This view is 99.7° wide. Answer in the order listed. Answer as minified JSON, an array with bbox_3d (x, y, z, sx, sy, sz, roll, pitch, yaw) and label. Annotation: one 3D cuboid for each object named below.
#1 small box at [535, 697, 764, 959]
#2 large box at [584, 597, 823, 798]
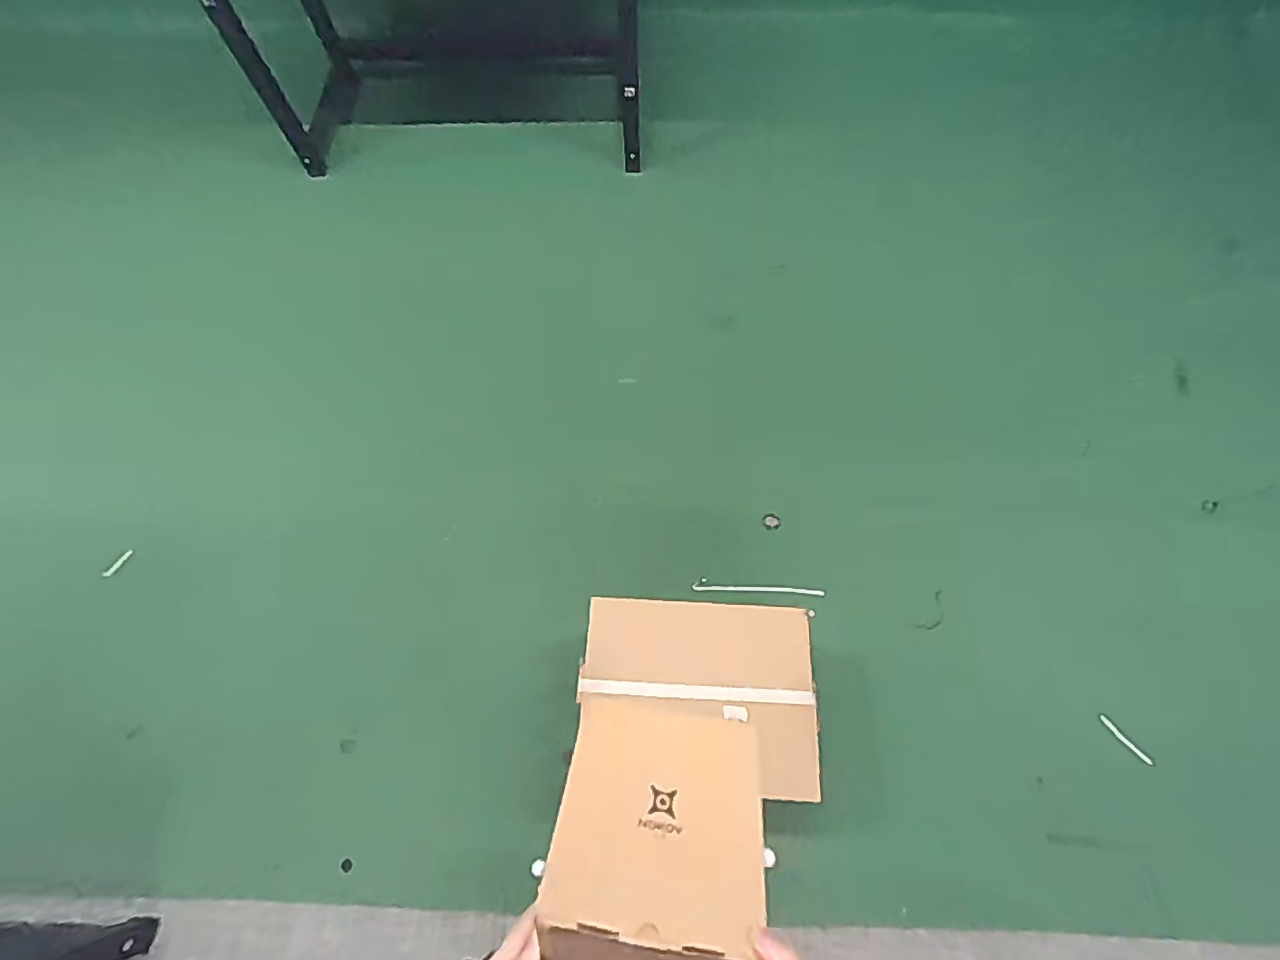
[{"bbox_3d":[0.011,0.331,0.487,0.168,0.176,0.179,7,36,4],"label":"small box"},{"bbox_3d":[0.104,0.426,1.066,0.408,0.320,0.320,2,66,2],"label":"large box"}]
